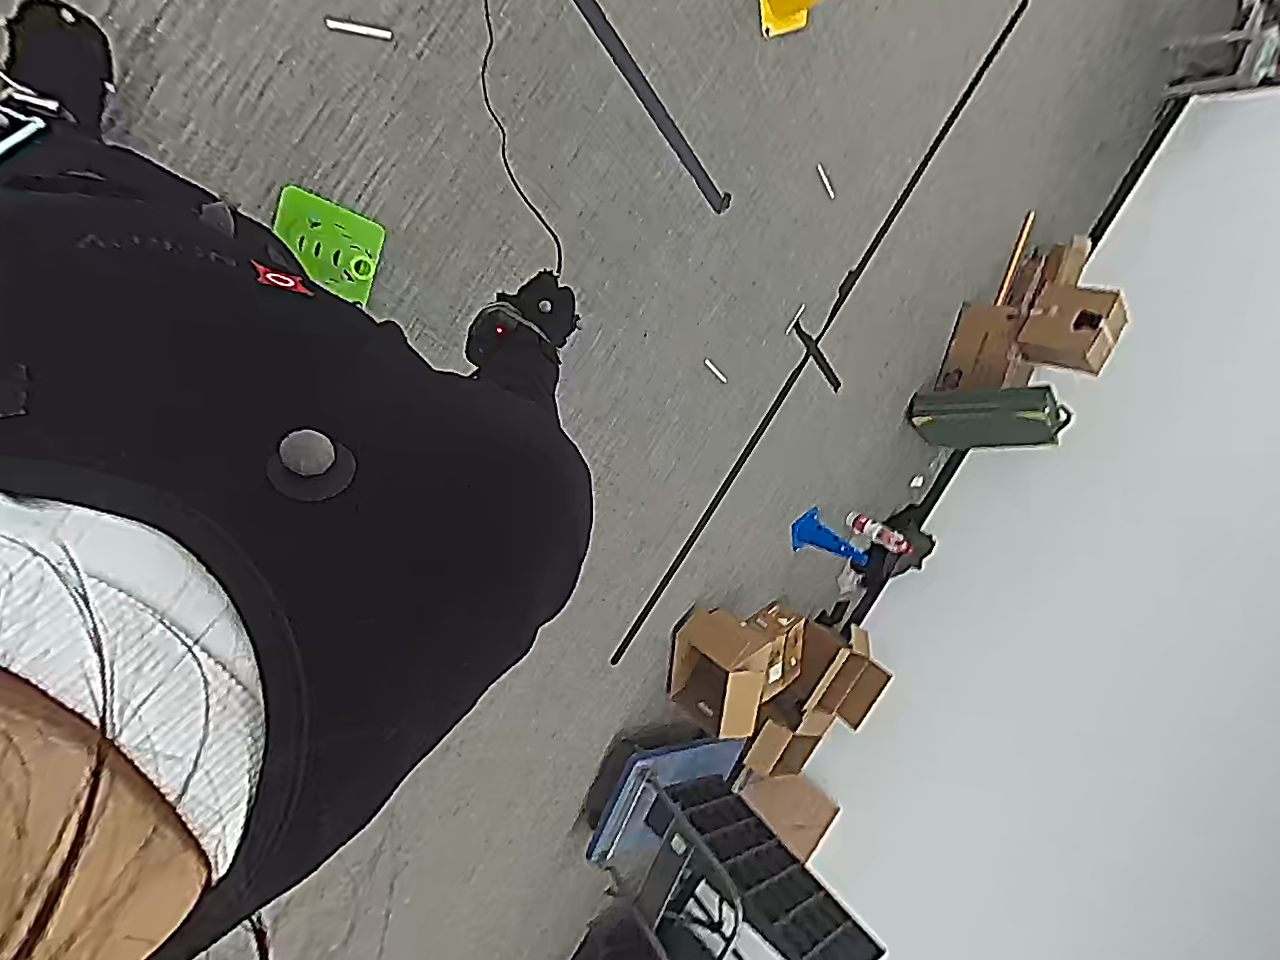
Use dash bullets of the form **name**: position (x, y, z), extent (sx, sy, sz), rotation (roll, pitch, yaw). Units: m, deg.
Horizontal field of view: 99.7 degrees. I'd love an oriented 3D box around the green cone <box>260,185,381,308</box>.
- **green cone**: position (-0.580, -0.432, 1.035), extent (0.202, 0.368, 0.200), rotation (11, 103, -42)
